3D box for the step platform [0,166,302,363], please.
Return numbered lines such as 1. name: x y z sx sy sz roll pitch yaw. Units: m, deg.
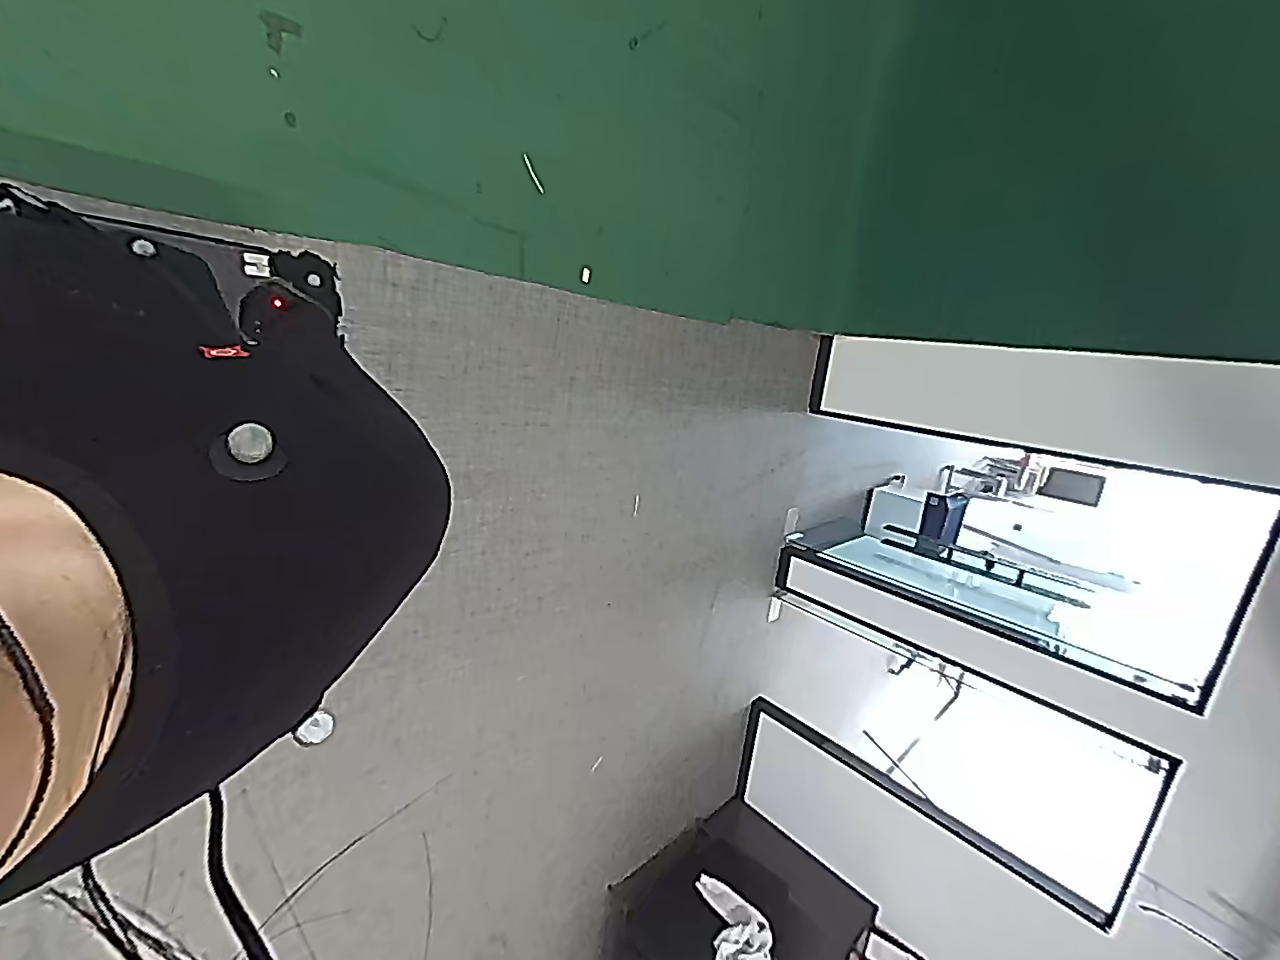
1. step platform: -0.994 -0.373 0.927 0.684 0.204 0.286 -6 110 -44
